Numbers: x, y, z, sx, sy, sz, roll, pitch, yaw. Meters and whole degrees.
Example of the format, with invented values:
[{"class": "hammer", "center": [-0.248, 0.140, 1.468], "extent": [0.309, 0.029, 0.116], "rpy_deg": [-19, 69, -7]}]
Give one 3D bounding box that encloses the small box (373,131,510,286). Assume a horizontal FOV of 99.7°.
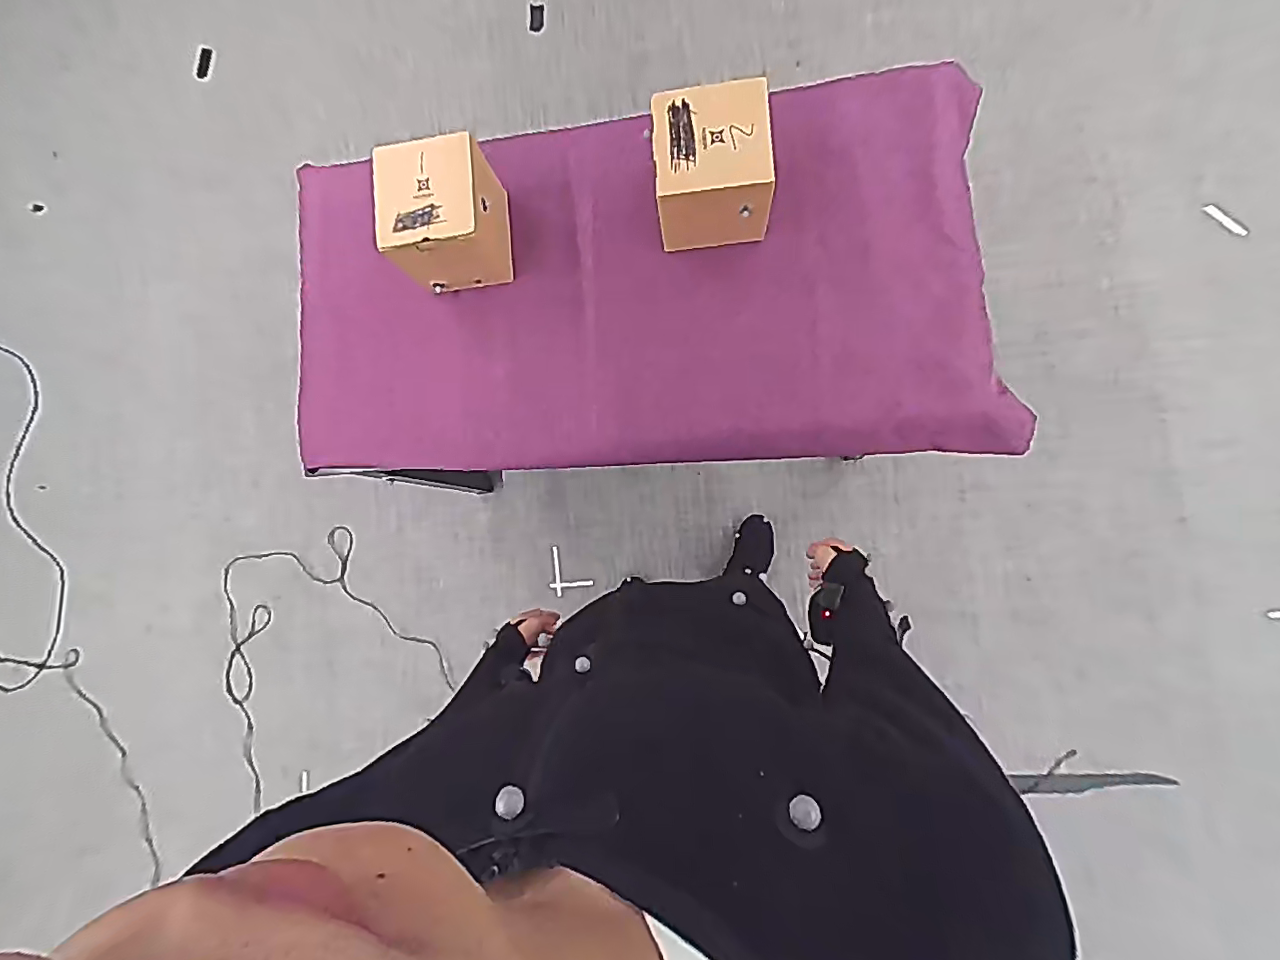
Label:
[{"class": "small box", "center": [-0.332, -0.452, 0.933], "extent": [0.168, 0.176, 0.179], "rpy_deg": [-6, 84, 6]}]
